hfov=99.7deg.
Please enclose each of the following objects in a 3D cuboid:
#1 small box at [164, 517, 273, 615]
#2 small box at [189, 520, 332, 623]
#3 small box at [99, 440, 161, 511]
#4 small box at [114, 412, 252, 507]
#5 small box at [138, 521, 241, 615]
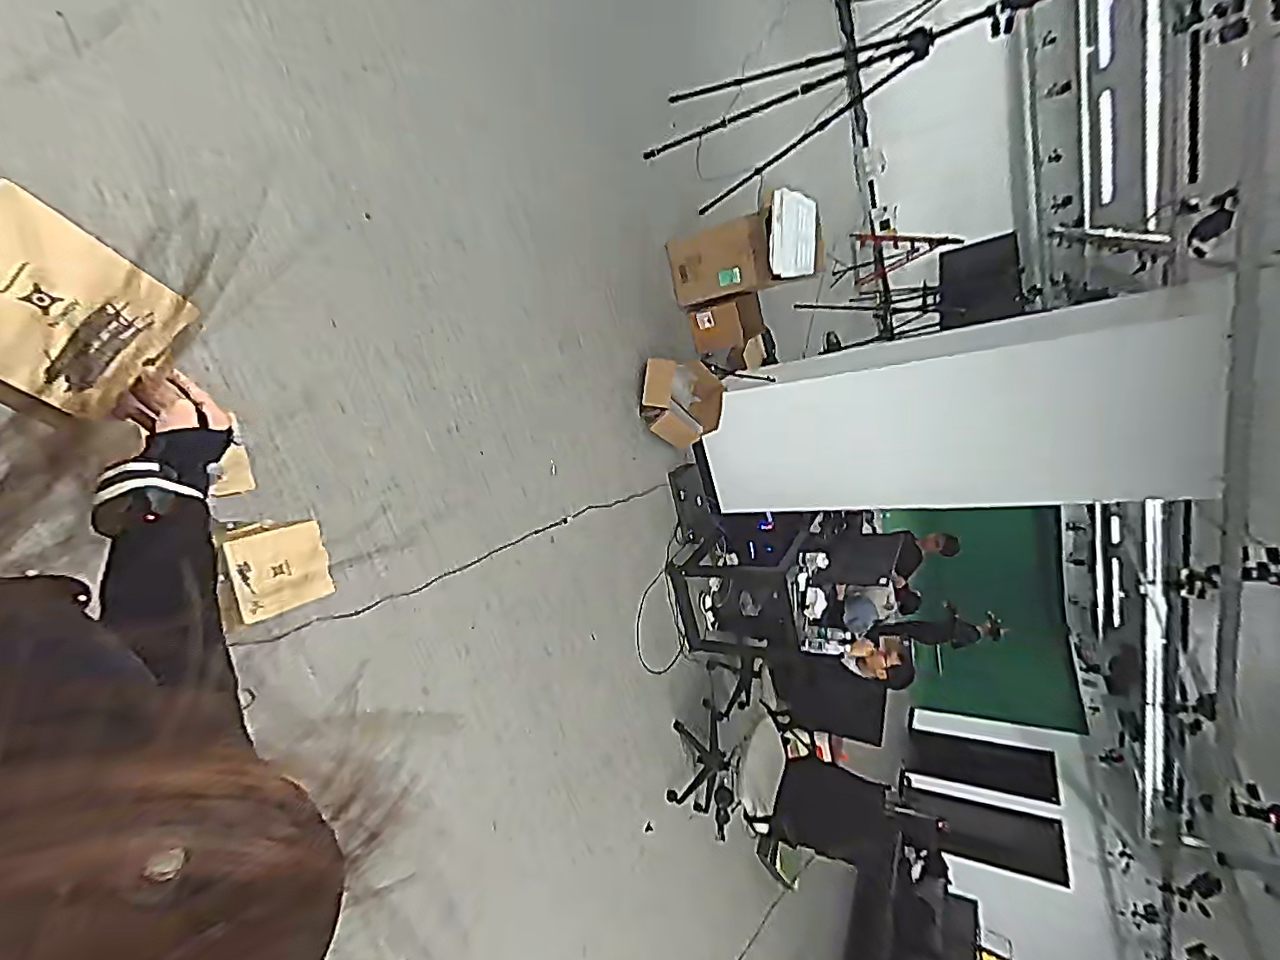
[{"bbox_3d":[-0.924,0.196,1.223,0.168,0.176,0.179,-33,113,-53],"label":"small box"},{"bbox_3d":[-0.789,0.183,1.129,0.179,0.176,0.168,-22,104,-56],"label":"small box"},{"bbox_3d":[-1.106,-0.031,1.266,0.179,0.176,0.168,-28,108,-54],"label":"small box"},{"bbox_3d":[-0.979,-0.043,1.161,0.168,0.176,0.179,-22,103,-55],"label":"small box"},{"bbox_3d":[-1.058,0.206,1.314,0.179,0.176,0.168,-35,114,-52],"label":"small box"}]
